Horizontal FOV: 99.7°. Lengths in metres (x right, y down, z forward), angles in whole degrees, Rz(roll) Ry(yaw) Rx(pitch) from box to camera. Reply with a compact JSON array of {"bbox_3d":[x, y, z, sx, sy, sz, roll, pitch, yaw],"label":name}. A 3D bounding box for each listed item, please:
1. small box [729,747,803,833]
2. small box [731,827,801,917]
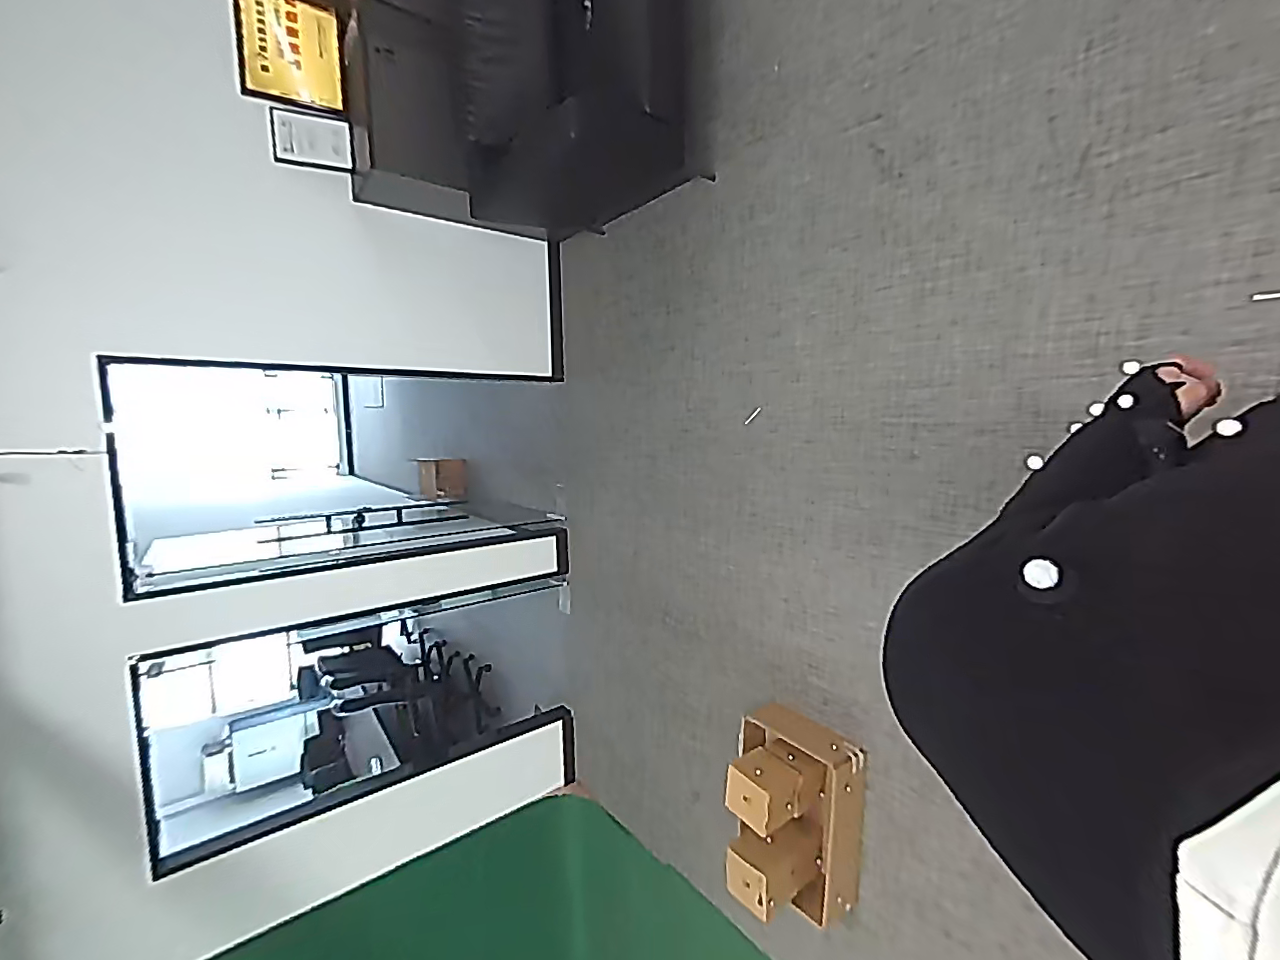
[{"bbox_3d":[0.432,1.052,1.857,0.179,0.176,0.168,15,106,49],"label":"small box"},{"bbox_3d":[0.438,1.351,1.887,0.179,0.176,0.168,6,99,52],"label":"small box"}]
